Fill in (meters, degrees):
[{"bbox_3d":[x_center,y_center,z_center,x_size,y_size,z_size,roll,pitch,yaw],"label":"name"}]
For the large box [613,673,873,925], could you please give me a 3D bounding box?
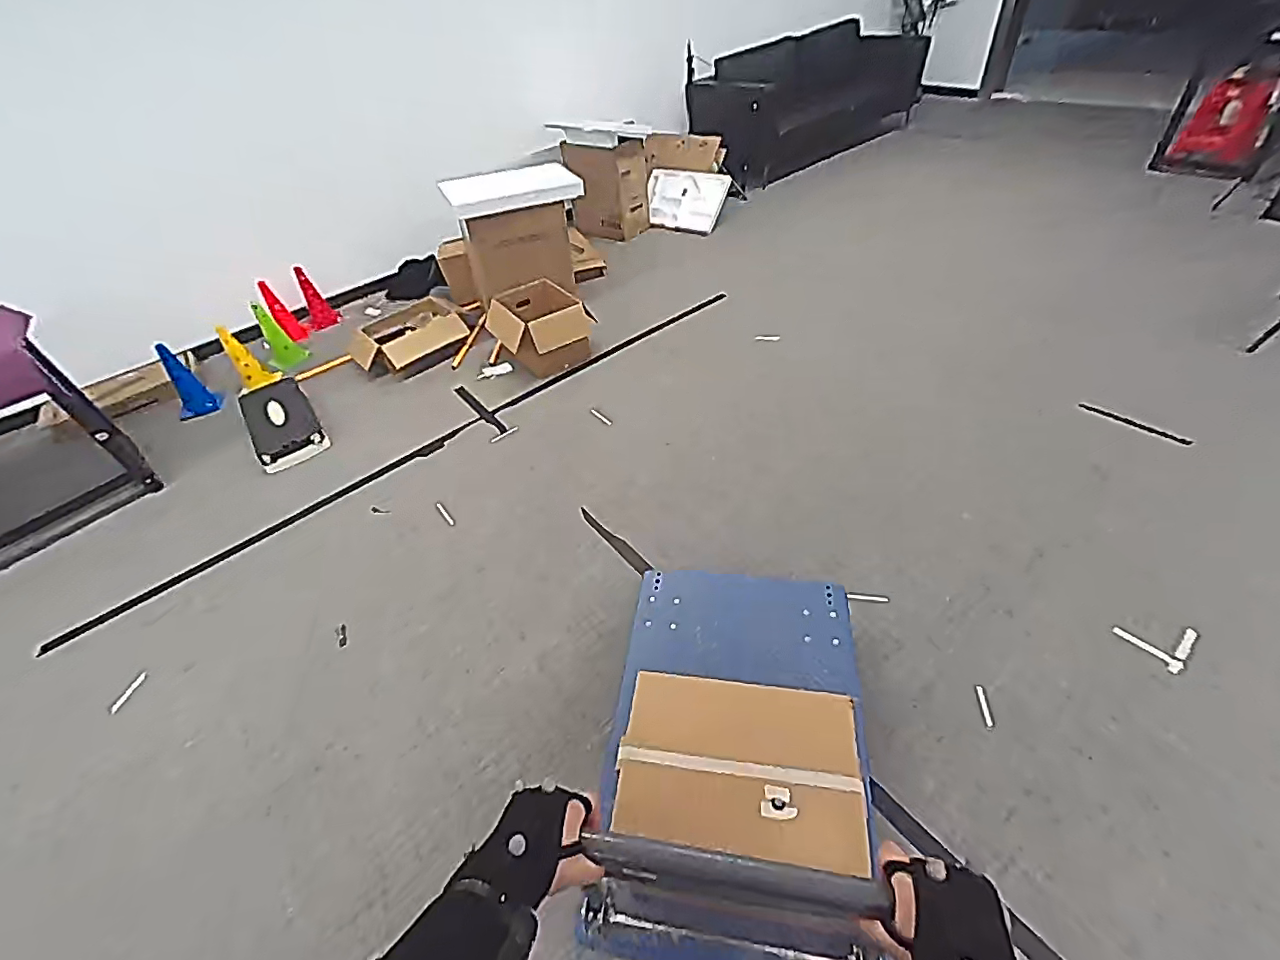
[{"bbox_3d":[0.182,0.605,1.037,0.408,0.320,0.320,3,45,10],"label":"large box"}]
